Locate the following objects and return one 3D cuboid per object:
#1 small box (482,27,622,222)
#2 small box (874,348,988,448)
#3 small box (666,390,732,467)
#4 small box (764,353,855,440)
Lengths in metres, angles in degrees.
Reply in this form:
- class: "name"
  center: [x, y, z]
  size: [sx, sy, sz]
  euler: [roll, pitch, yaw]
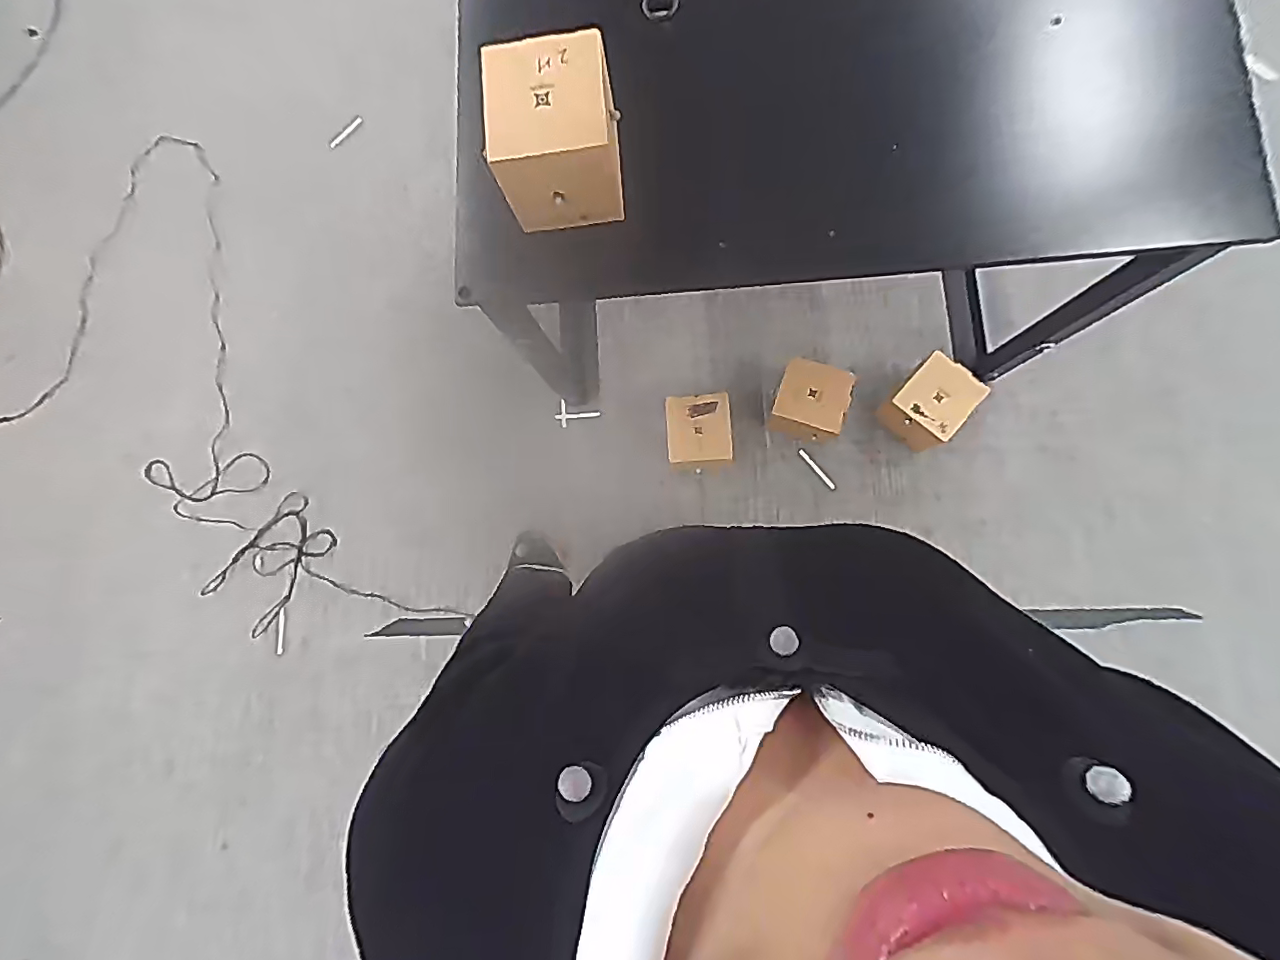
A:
- class: "small box"
  center: [-0.121, -0.506, 0.800]
  size: [0.168, 0.176, 0.179]
  euler: [-5, 83, 5]
- class: "small box"
  center: [0.748, -0.207, 1.414]
  size: [0.168, 0.176, 0.179]
  euler: [41, 89, 9]
- class: "small box"
  center: [0.156, -0.135, 1.468]
  size: [0.168, 0.176, 0.179]
  euler: [-4, 85, 6]
- class: "small box"
  center: [0.447, -0.215, 1.449]
  size: [0.179, 0.176, 0.168]
  euler: [18, 85, 9]
